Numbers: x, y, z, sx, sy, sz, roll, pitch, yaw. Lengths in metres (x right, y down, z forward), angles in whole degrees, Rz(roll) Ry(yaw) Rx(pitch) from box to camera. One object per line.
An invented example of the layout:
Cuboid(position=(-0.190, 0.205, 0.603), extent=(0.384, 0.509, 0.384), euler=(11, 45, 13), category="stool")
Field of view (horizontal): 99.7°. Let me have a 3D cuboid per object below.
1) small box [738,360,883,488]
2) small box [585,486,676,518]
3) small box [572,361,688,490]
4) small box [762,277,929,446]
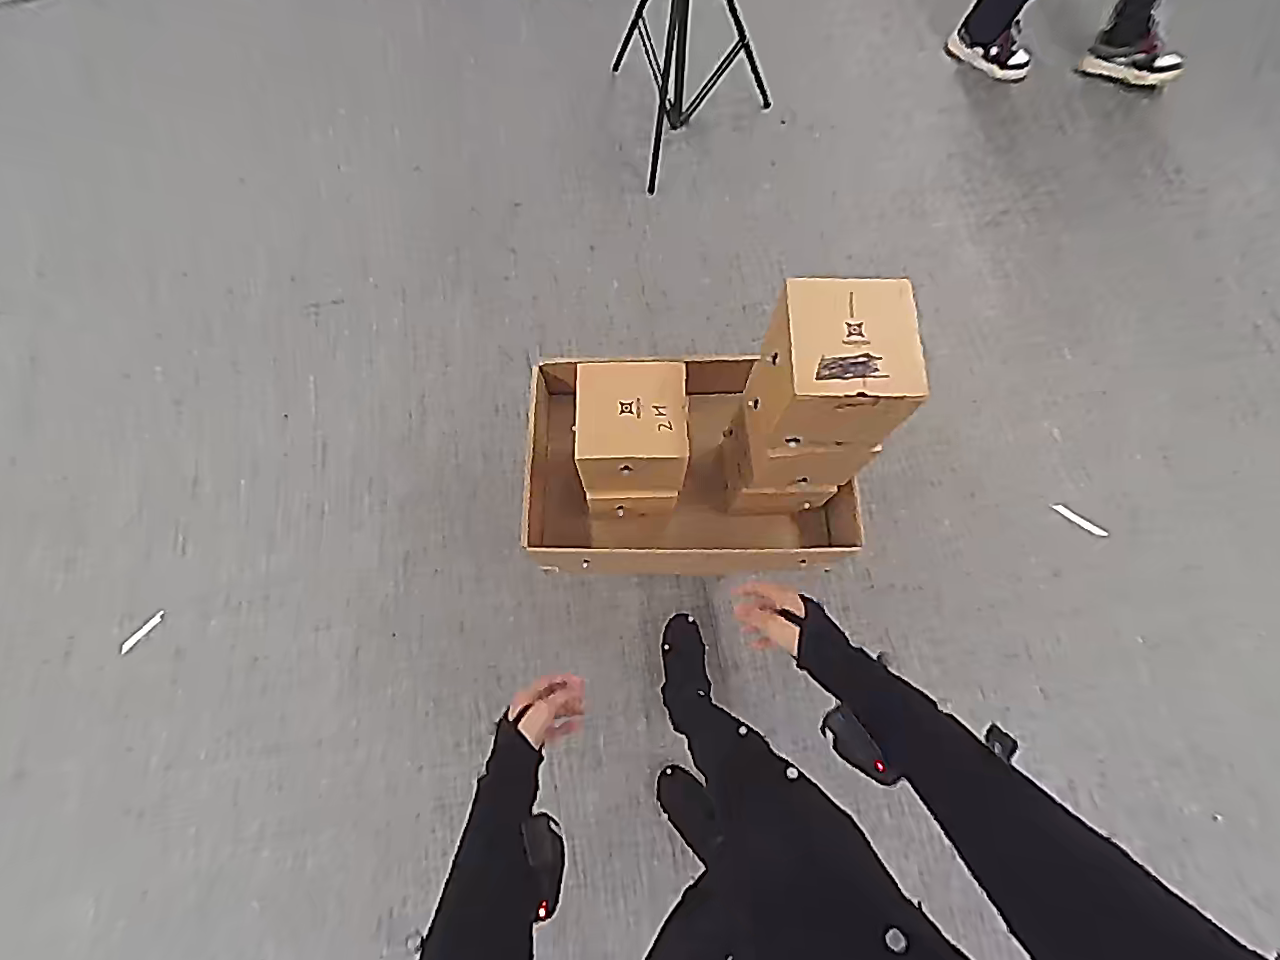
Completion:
Cuboid(position=(0.271, -0.089, 0.899), extent=(0.179, 0.176, 0.168), euler=(-2, 72, -1), category="small box")
Cuboid(position=(-0.017, -0.024, 1.057), extent=(0.168, 0.176, 0.179), euler=(-2, 71, -1), category="small box")
Cuboid(position=(-0.014, -0.083, 0.903), extent=(0.179, 0.176, 0.168), euler=(0, 72, -1), category="small box")
Cuboid(position=(0.268, -0.154, 0.746), extent=(0.168, 0.176, 0.179), euler=(1, 71, 1), category="small box")
